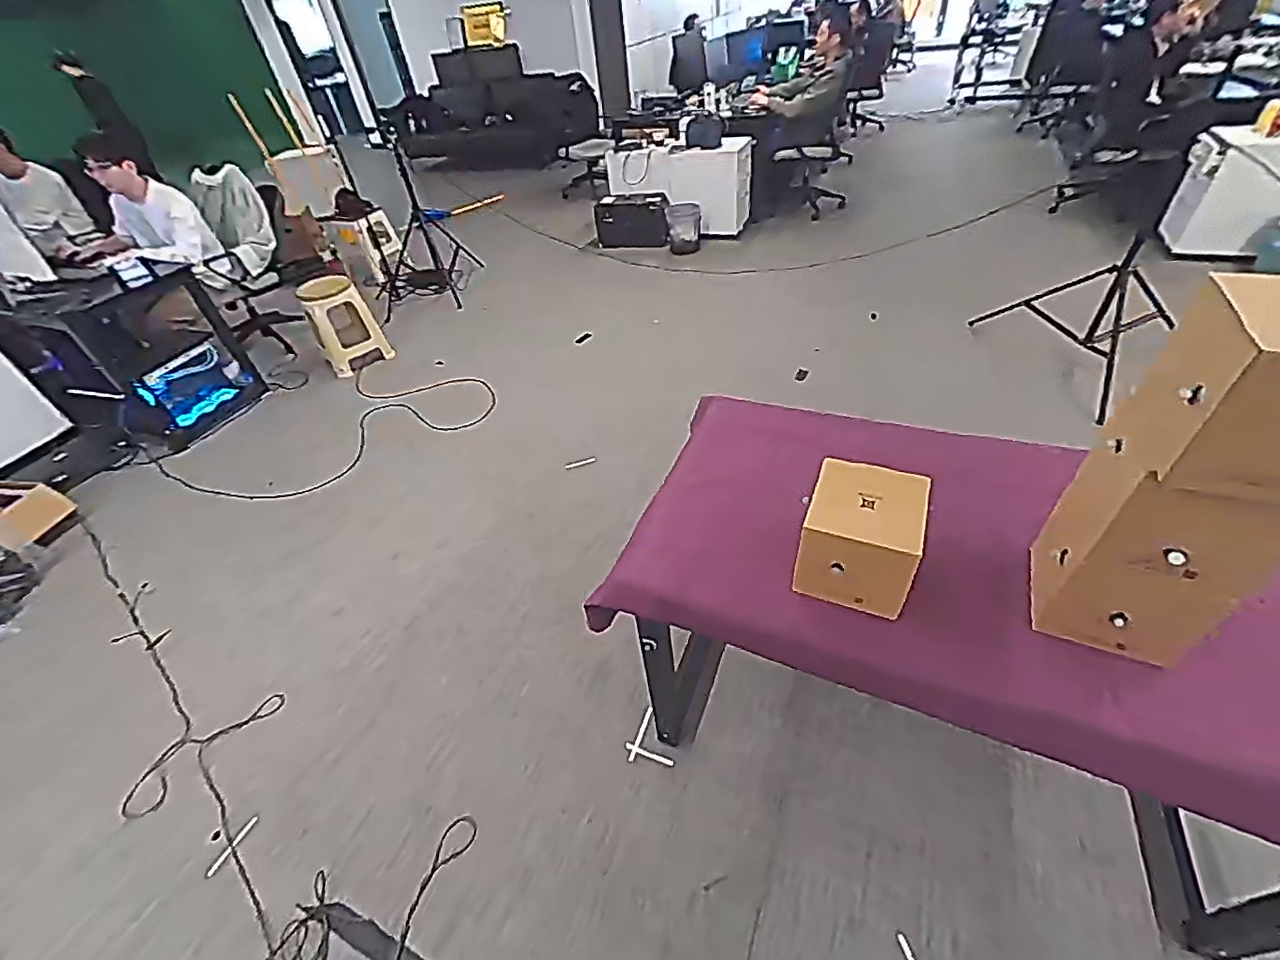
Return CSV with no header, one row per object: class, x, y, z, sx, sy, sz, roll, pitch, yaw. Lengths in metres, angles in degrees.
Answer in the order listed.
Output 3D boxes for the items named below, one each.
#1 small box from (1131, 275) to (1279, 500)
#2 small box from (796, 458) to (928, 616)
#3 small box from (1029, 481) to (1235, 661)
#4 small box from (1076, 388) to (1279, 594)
small box,0.665,-0.093,0.563,0.168,0.176,0.179,13,45,20
small box,0.360,0.093,0.891,0.168,0.176,0.179,13,45,21
small box,0.700,0.133,0.796,0.168,0.176,0.179,15,47,22
small box,0.688,0.011,0.687,0.168,0.176,0.179,14,47,23
